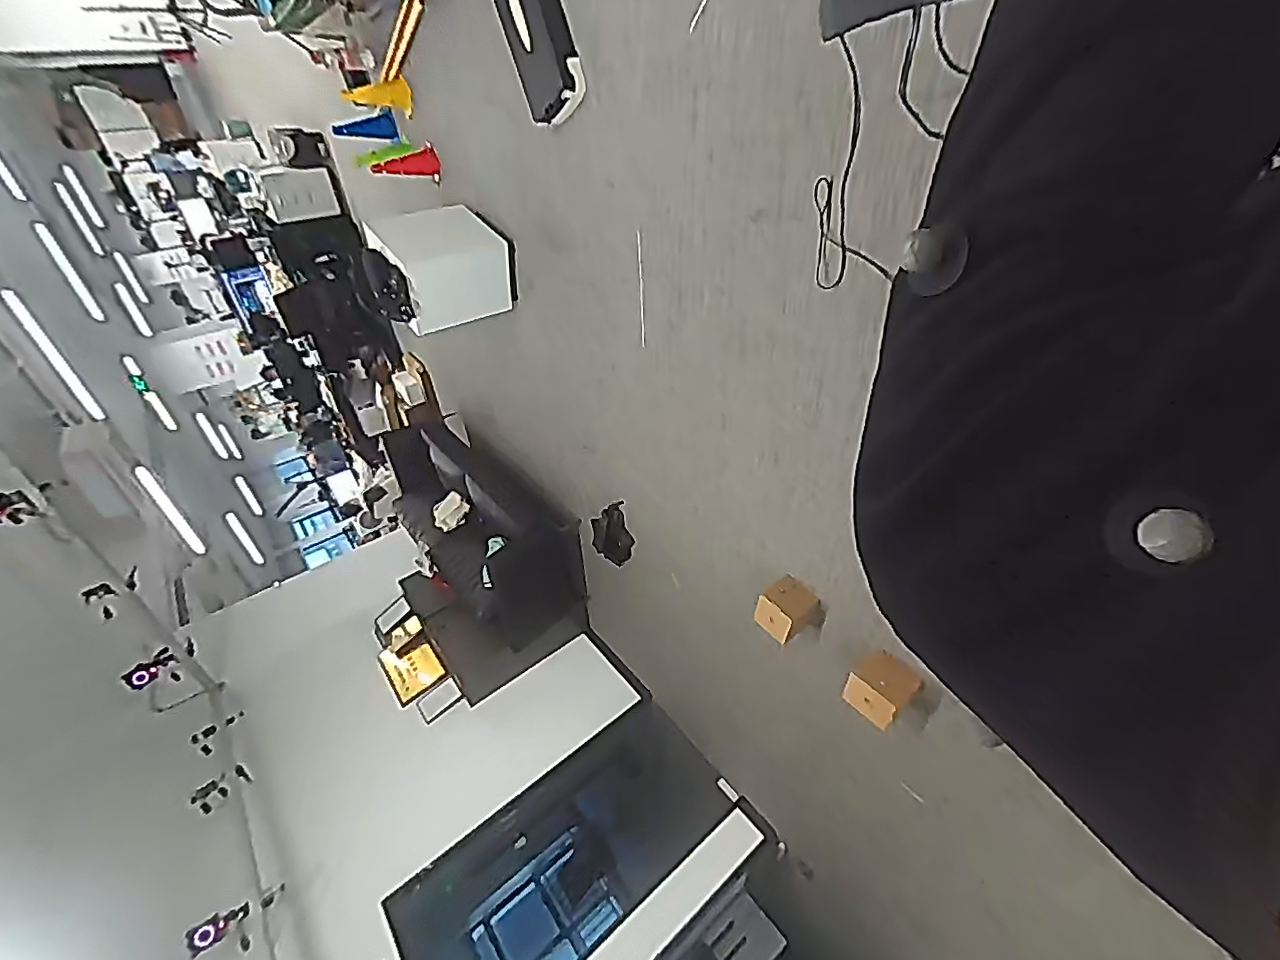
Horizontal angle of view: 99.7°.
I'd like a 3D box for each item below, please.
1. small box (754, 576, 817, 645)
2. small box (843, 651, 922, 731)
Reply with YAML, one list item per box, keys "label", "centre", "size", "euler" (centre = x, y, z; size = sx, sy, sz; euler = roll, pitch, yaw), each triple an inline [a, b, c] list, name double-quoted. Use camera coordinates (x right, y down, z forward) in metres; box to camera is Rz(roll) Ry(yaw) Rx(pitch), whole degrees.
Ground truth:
- label: "small box"
  centre: [0.586, 0.518, 2.171]
  size: [0.168, 0.176, 0.179]
  euler: [41, 145, 36]
- label: "small box"
  centre: [0.857, 0.736, 1.917]
  size: [0.179, 0.176, 0.168]
  euler: [36, 141, 38]
